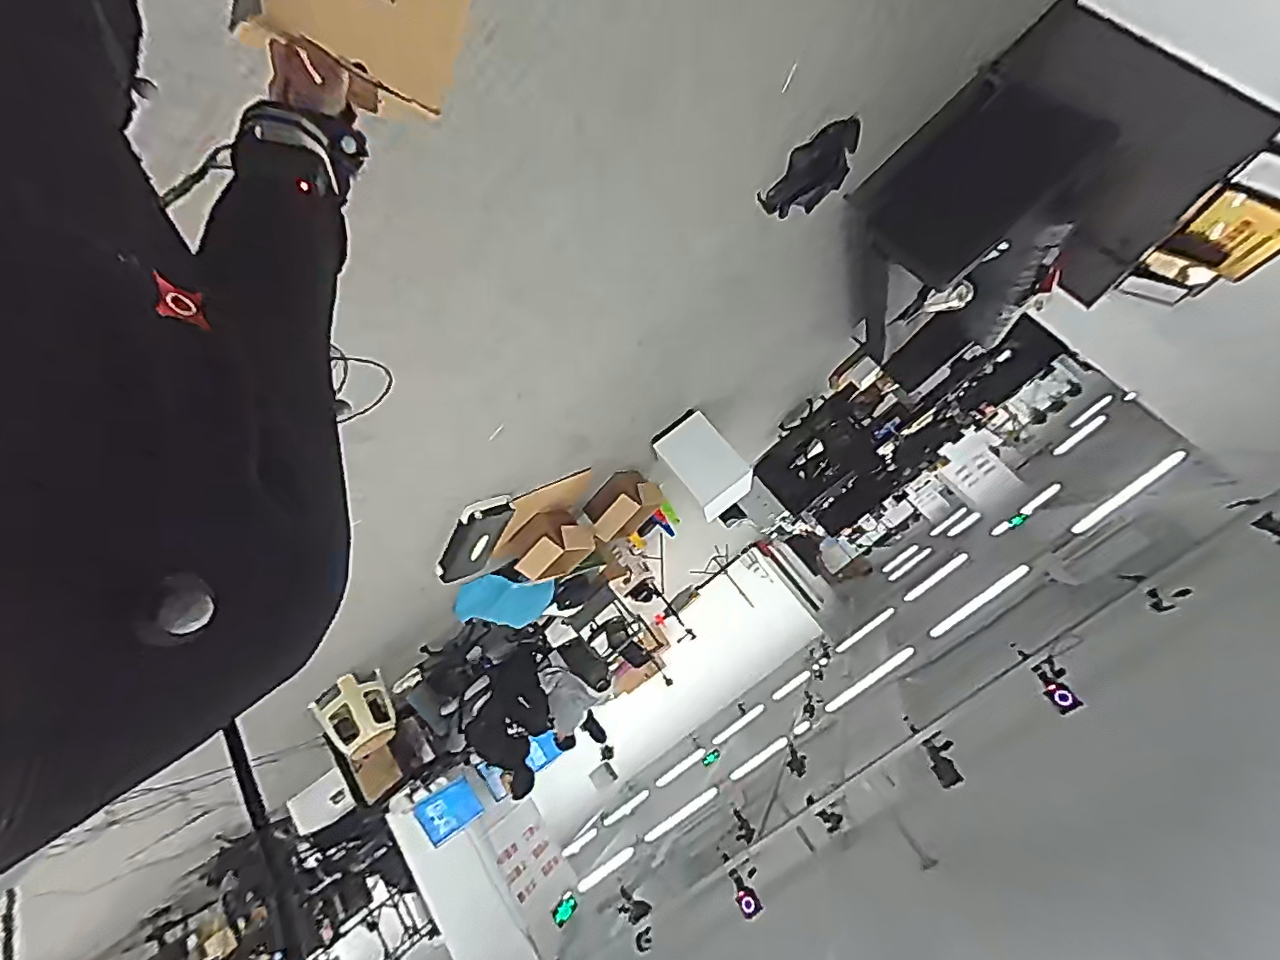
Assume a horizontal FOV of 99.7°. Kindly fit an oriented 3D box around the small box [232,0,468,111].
[{"bbox_3d":[-0.290,-0.504,0.544,0.168,0.176,0.179,4,111,-48],"label":"small box"}]
